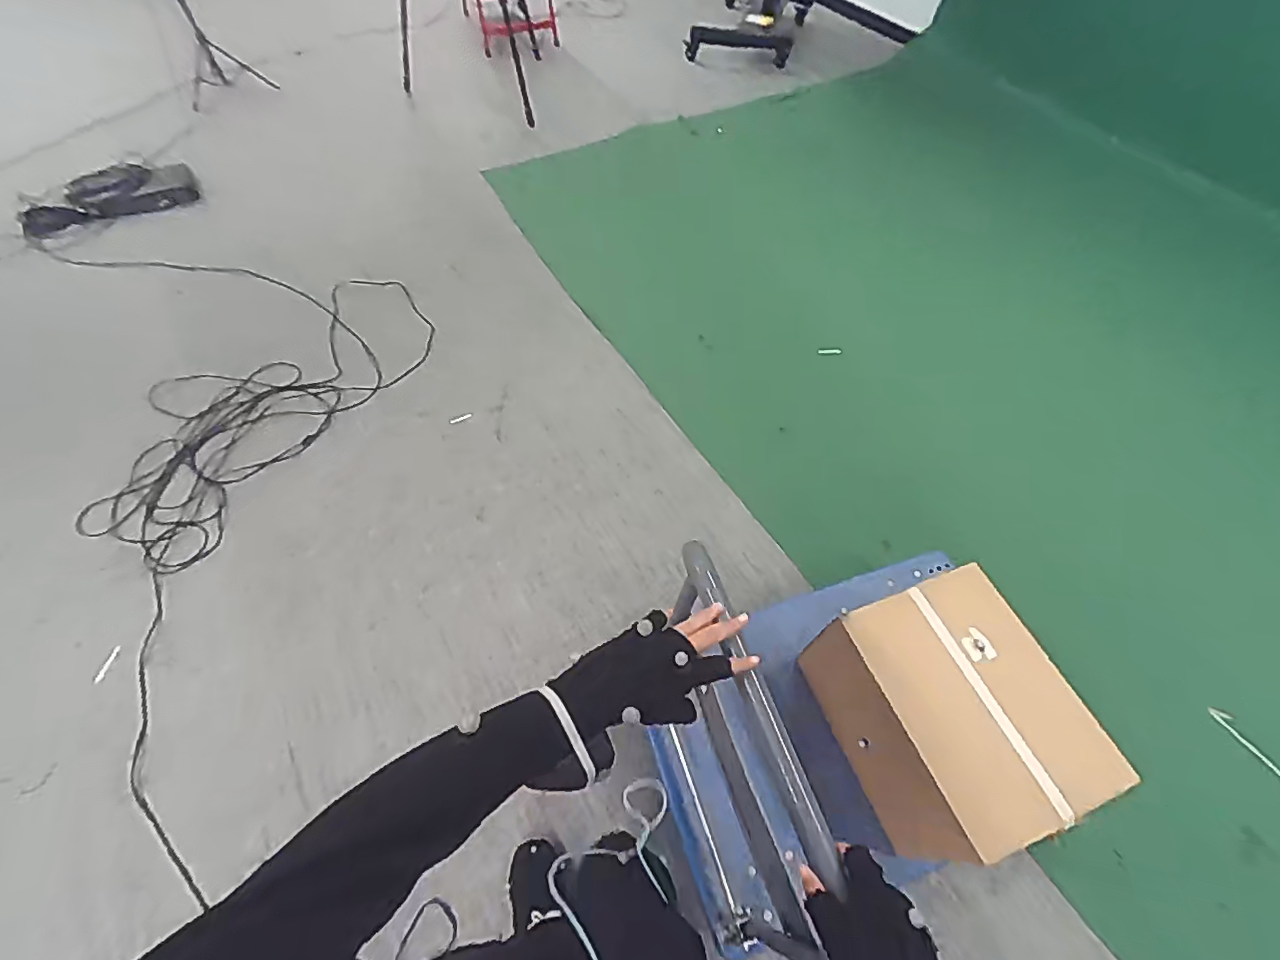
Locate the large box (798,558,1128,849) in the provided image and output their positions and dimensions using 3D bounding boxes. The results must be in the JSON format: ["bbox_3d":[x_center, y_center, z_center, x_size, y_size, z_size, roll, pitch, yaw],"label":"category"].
[{"bbox_3d":[0.575,0.433,1.062,0.320,0.320,0.408,-18,59,-12],"label":"large box"}]
